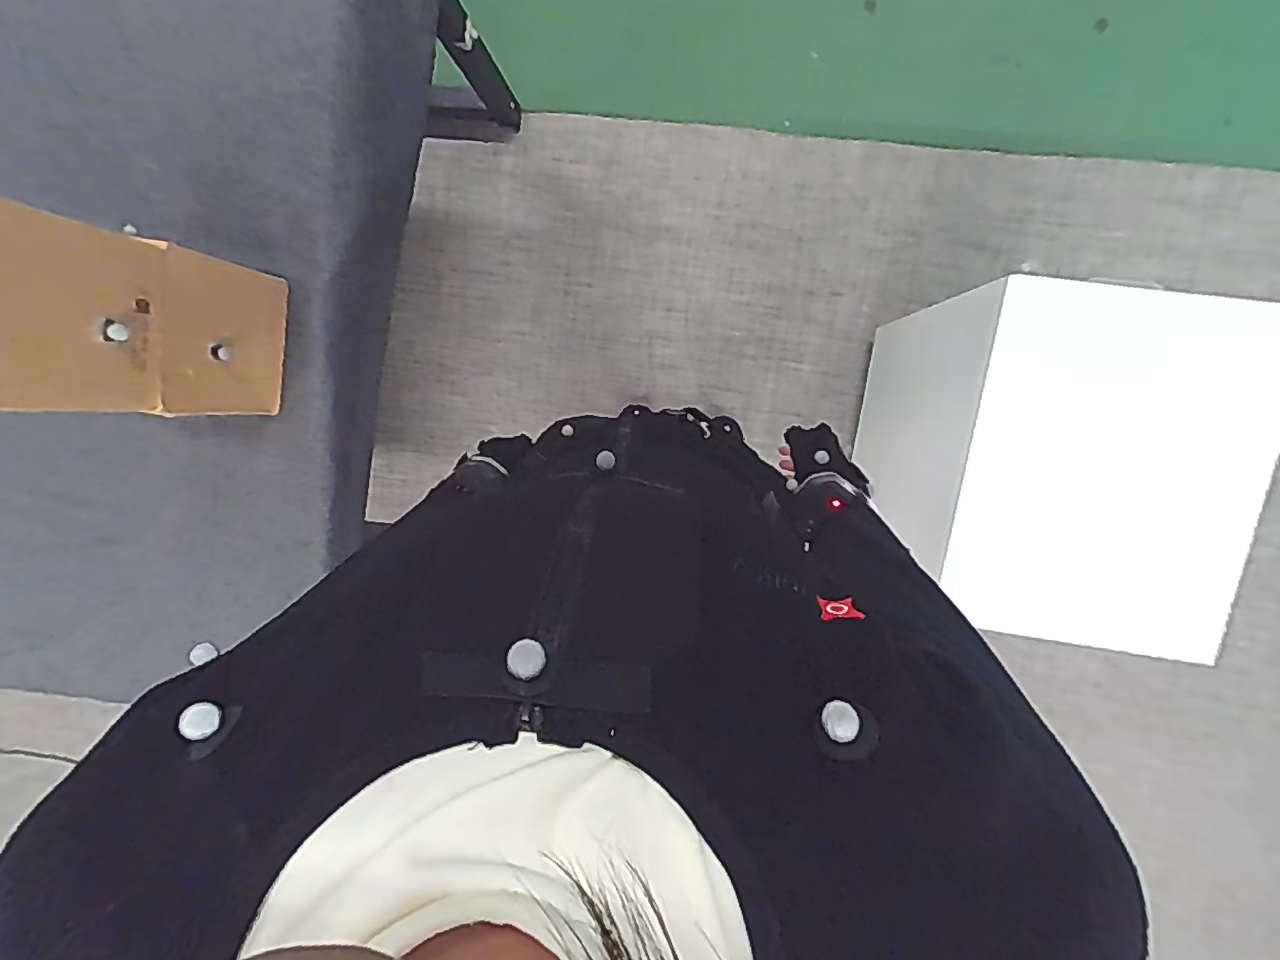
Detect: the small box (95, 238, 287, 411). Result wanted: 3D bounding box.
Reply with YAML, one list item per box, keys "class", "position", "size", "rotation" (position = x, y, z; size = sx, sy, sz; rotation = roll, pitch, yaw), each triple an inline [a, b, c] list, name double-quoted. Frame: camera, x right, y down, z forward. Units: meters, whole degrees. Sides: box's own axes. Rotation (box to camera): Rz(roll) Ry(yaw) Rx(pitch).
- class: "small box"
  position: [-0.555, -0.183, 0.640]
  size: [0.168, 0.176, 0.179]
  rotation: [10, 99, 5]
